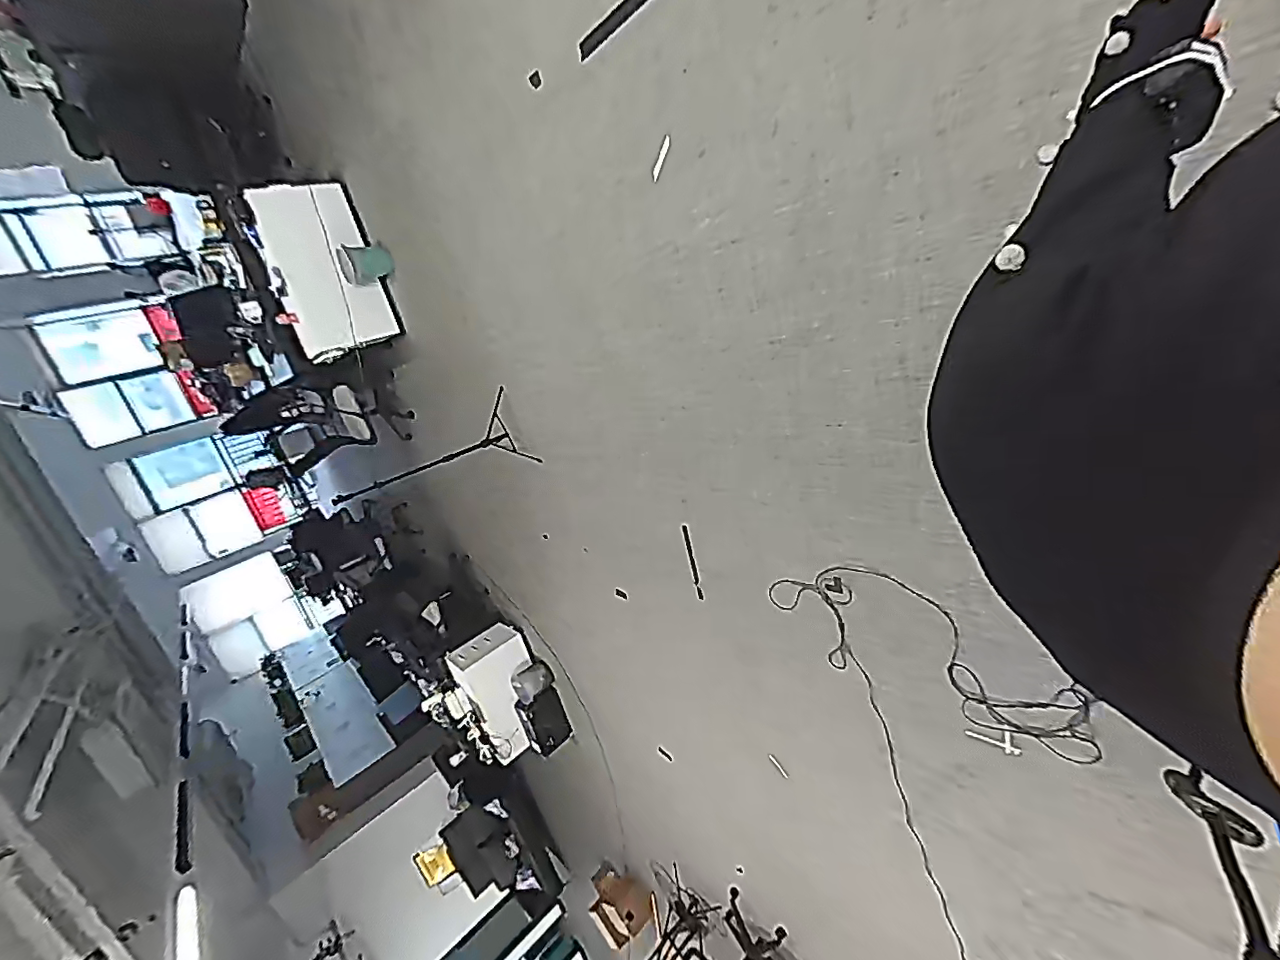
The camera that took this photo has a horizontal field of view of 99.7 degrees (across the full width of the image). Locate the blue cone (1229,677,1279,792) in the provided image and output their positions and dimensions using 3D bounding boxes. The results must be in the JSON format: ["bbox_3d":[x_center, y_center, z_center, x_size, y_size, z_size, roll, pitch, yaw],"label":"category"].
[{"bbox_3d":[1.290,0.583,1.048,0.192,0.380,0.193,24,131,39],"label":"blue cone"}]
